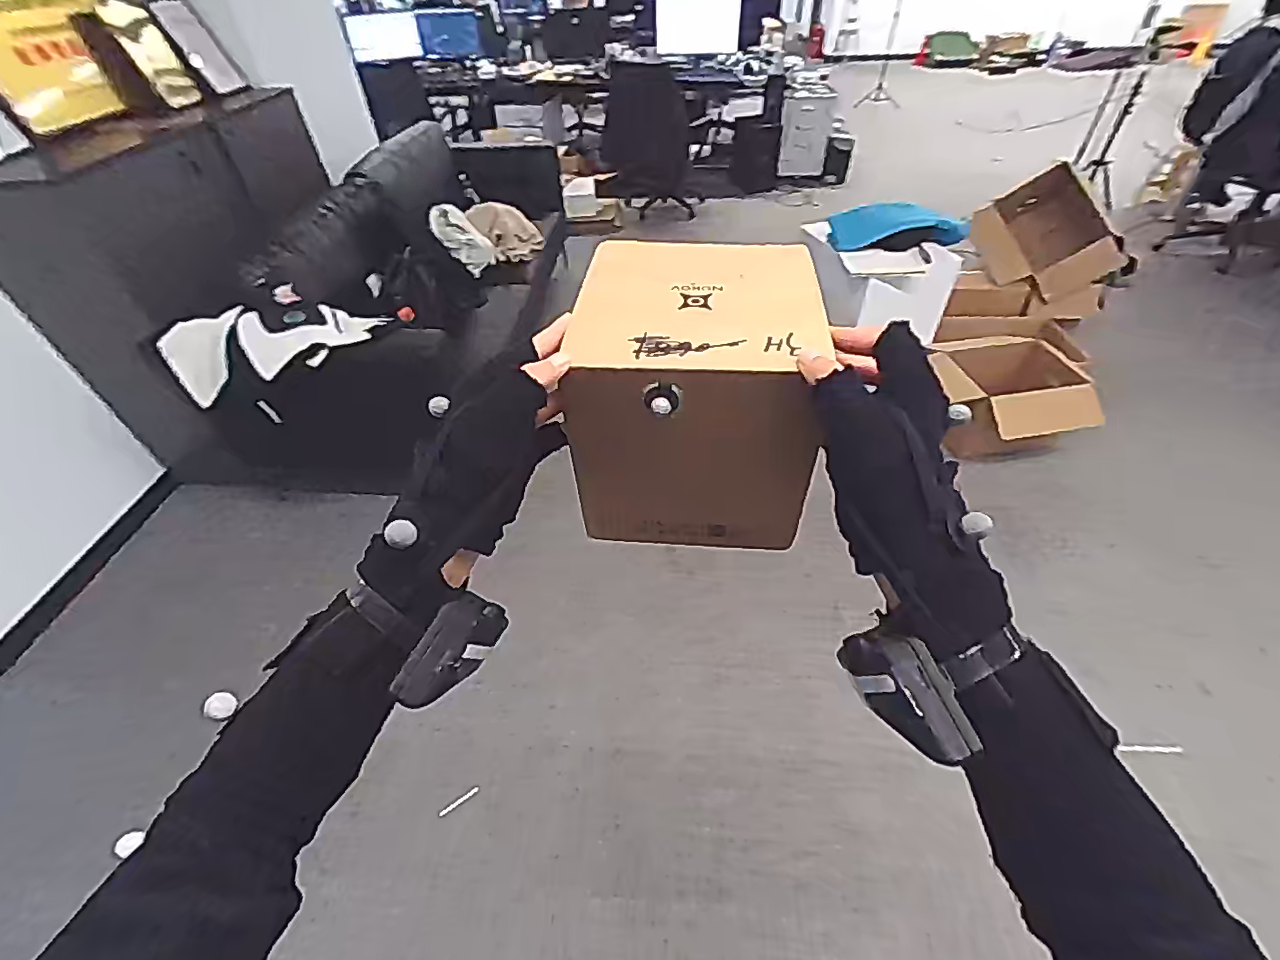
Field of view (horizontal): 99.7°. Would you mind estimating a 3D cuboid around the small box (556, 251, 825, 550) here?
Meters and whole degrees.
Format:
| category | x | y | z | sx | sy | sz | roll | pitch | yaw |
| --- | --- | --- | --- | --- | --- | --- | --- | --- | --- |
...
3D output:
| category | x | y | z | sx | sy | sz | roll | pitch | yaw |
| --- | --- | --- | --- | --- | --- | --- | --- | --- | --- |
| small box | 0.041 | -0.067 | 0.438 | 0.168 | 0.176 | 0.179 | 2 | 45 | 7 |
